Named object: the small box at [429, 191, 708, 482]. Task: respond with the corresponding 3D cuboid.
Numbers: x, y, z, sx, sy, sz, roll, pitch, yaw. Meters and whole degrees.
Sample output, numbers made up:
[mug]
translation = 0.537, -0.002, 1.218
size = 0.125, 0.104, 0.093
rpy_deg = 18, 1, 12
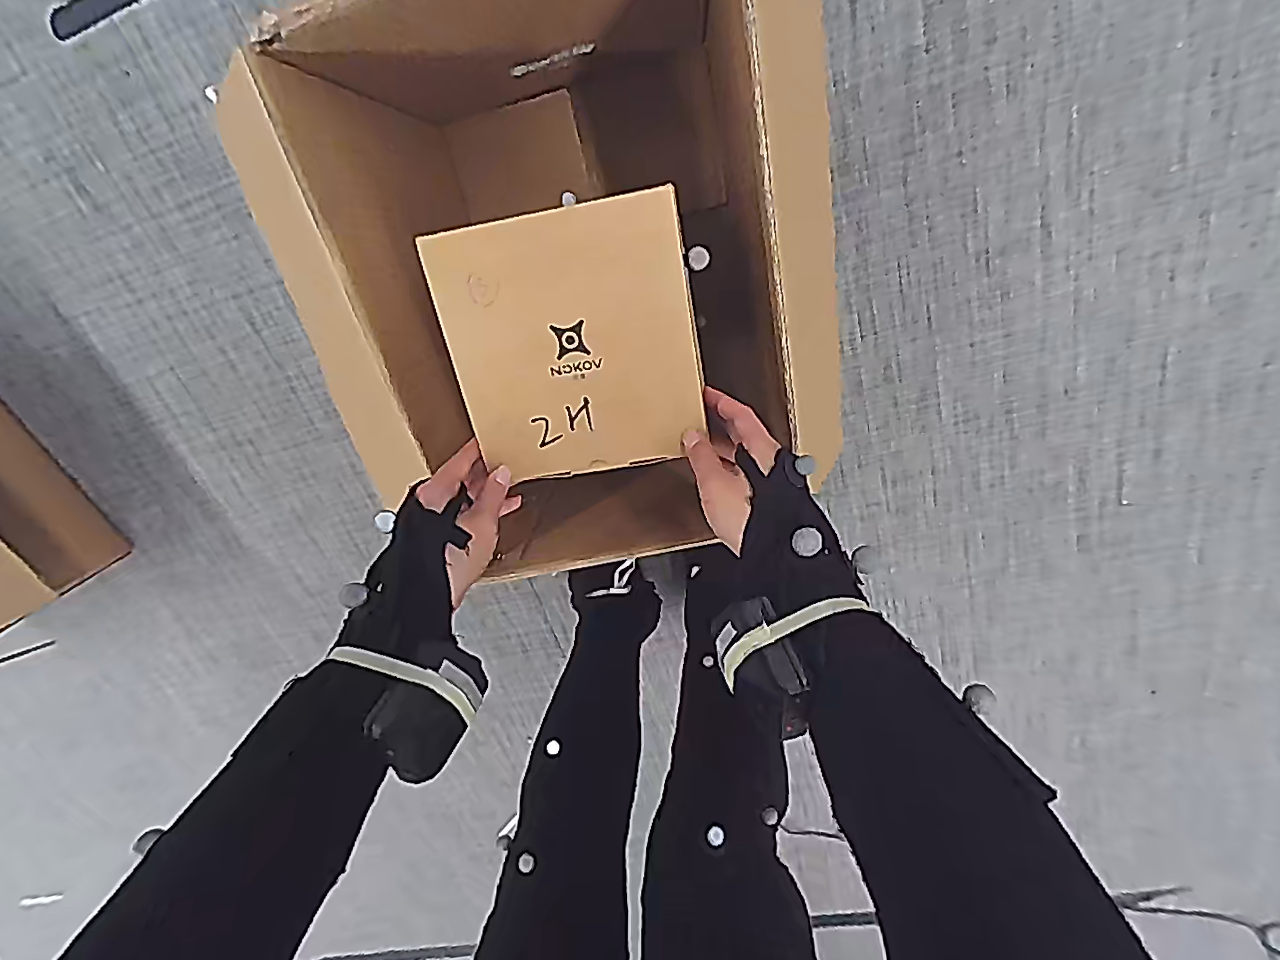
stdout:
[small box]
translation = -0.041, -0.118, 0.445
size = 0.168, 0.176, 0.179
rpy_deg = -8, 113, 7
